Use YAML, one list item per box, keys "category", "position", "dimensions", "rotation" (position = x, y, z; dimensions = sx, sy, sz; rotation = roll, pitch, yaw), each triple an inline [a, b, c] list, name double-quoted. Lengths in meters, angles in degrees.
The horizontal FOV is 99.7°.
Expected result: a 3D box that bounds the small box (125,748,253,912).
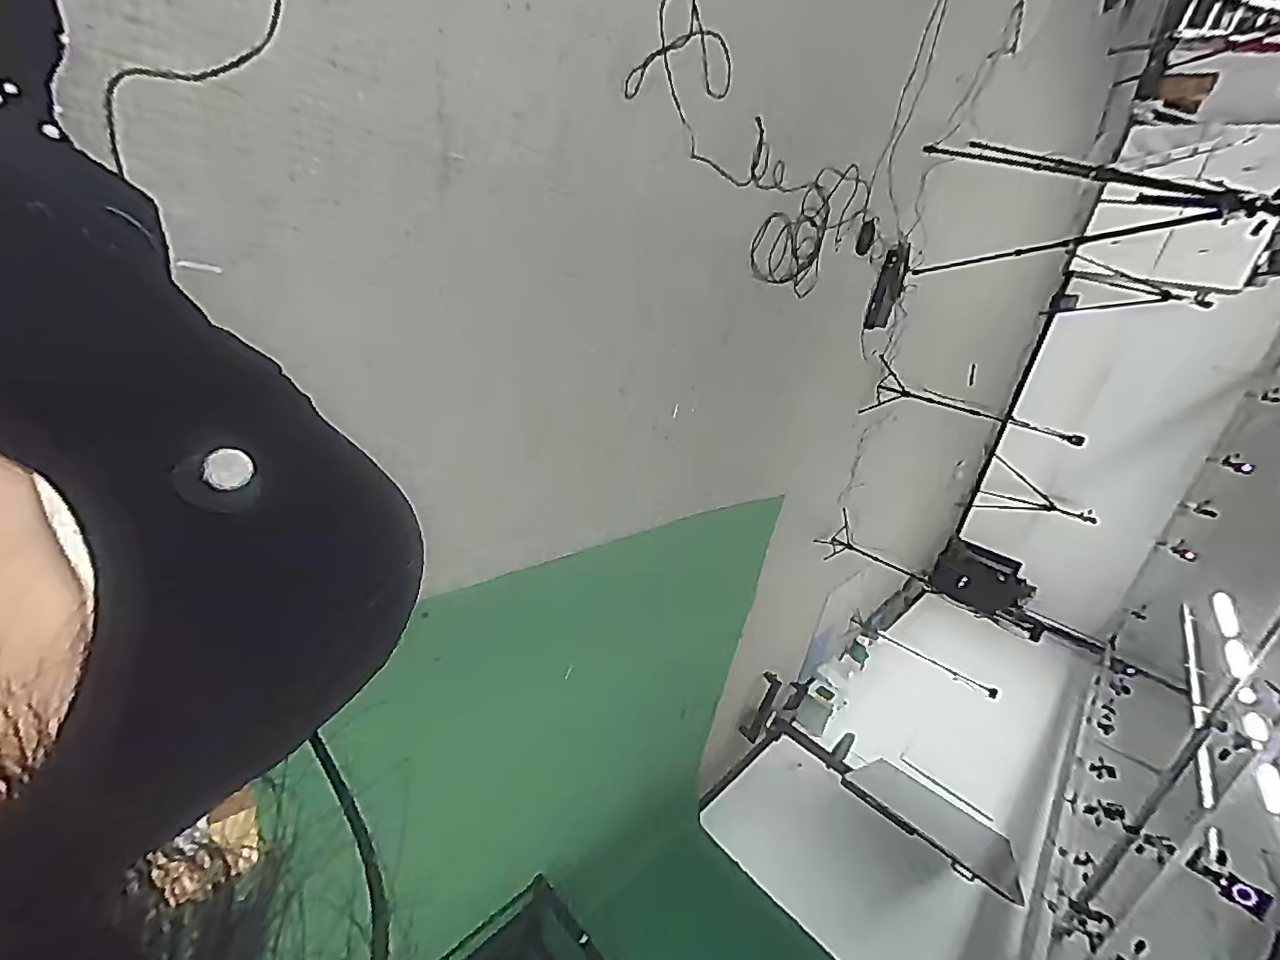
- category: "small box"
  position: [-0.892, 0.679, 1.071]
  dimensions: [0.179, 0.176, 0.168]
  rotation: [-9, 118, -46]
